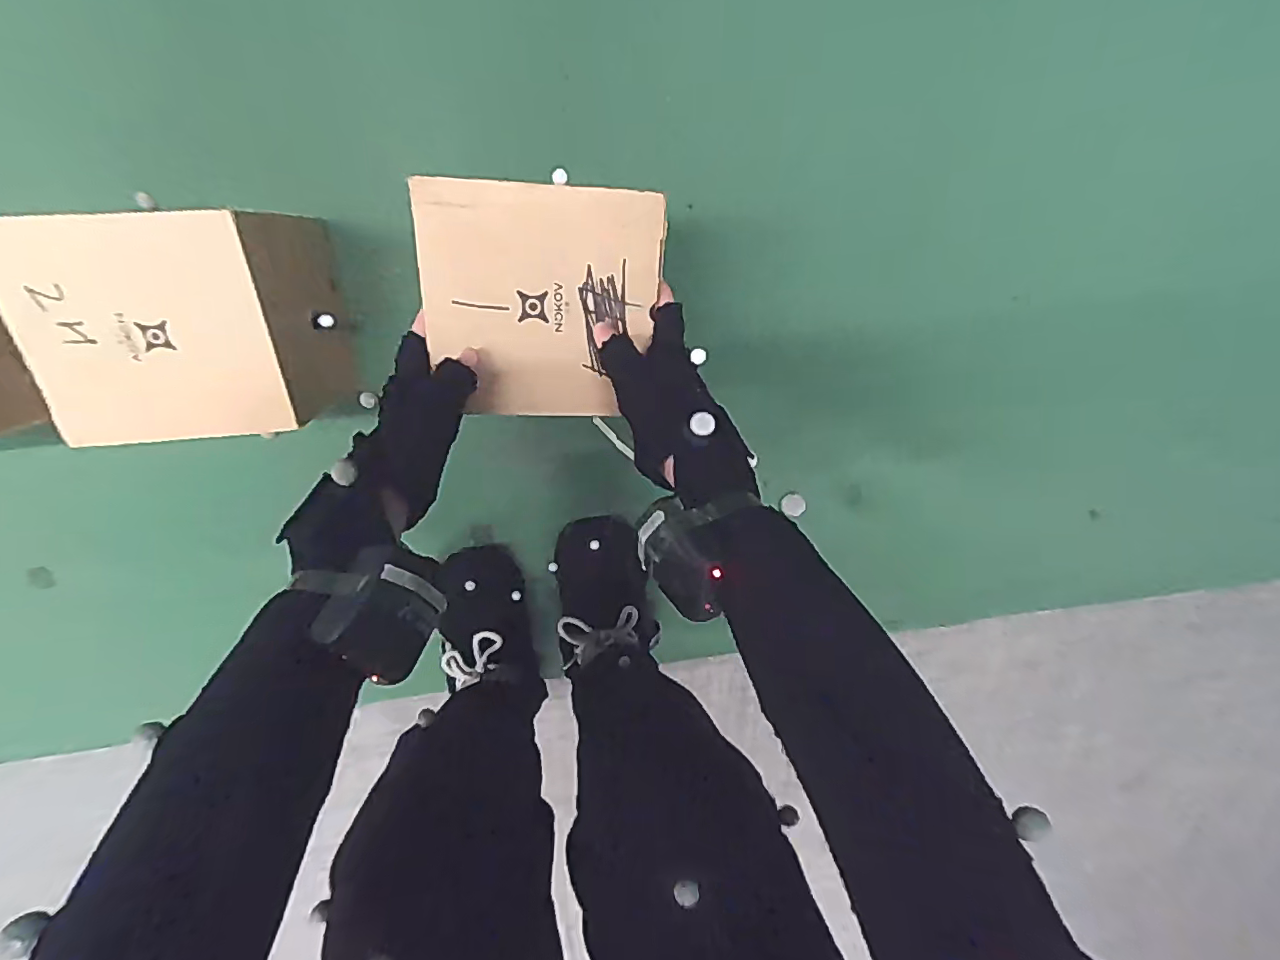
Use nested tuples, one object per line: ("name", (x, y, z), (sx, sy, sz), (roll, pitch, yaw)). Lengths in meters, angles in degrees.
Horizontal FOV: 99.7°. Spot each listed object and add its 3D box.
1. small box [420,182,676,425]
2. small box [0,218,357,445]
("small box", (-0.077, -0.152, 0.471), (0.179, 0.176, 0.168), (1, 113, -8))
("small box", (-0.375, -0.140, 0.480), (0.179, 0.176, 0.168), (-4, 114, -7))
